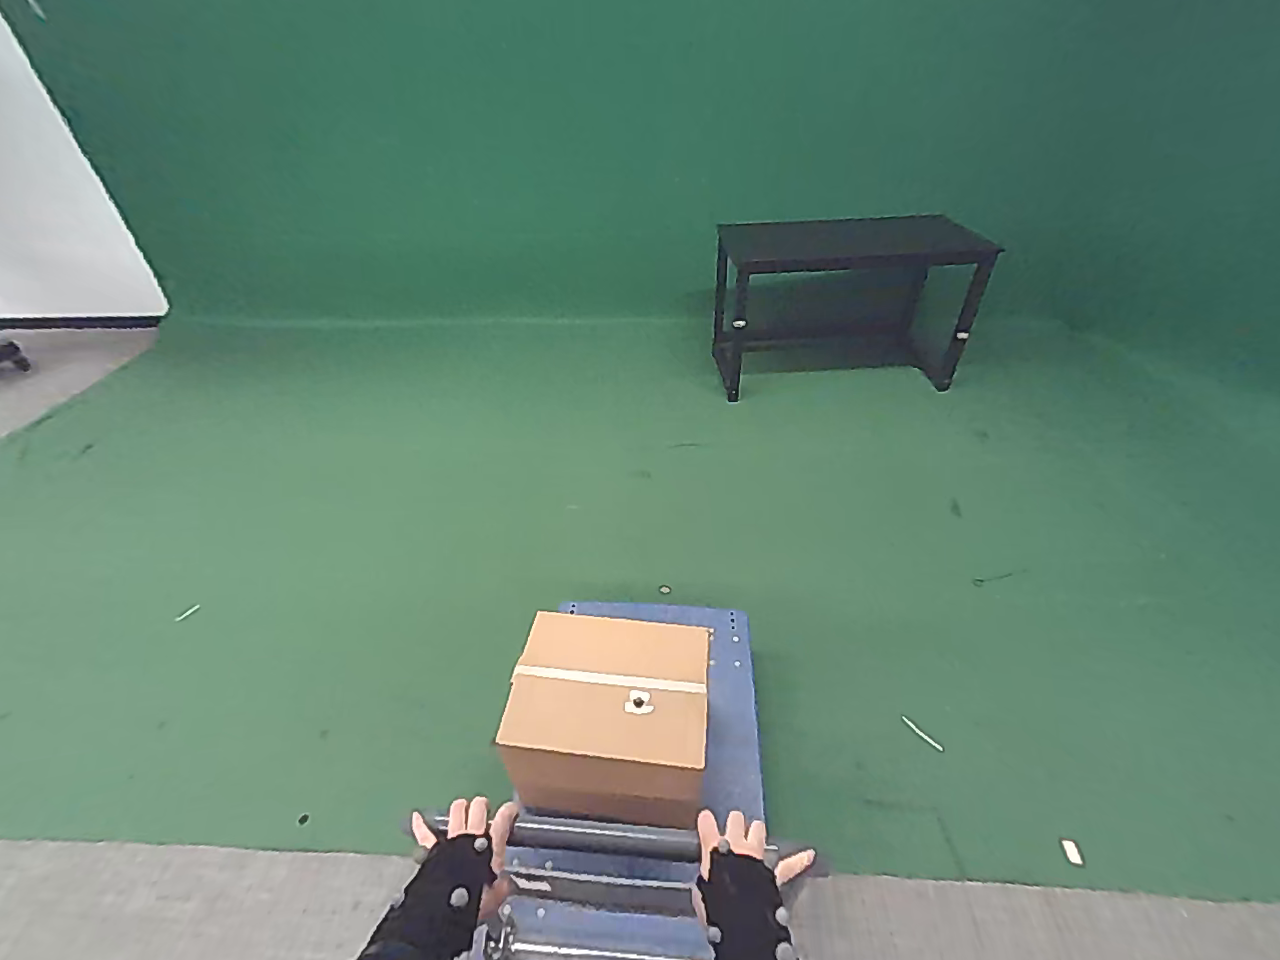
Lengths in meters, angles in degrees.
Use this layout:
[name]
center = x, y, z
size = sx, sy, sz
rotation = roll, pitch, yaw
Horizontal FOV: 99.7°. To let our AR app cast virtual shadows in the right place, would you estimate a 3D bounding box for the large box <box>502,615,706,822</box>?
[large box]
center = -0.062, 0.544, 1.247
size = 0.408, 0.320, 0.320
rotation = 4, 40, 5
